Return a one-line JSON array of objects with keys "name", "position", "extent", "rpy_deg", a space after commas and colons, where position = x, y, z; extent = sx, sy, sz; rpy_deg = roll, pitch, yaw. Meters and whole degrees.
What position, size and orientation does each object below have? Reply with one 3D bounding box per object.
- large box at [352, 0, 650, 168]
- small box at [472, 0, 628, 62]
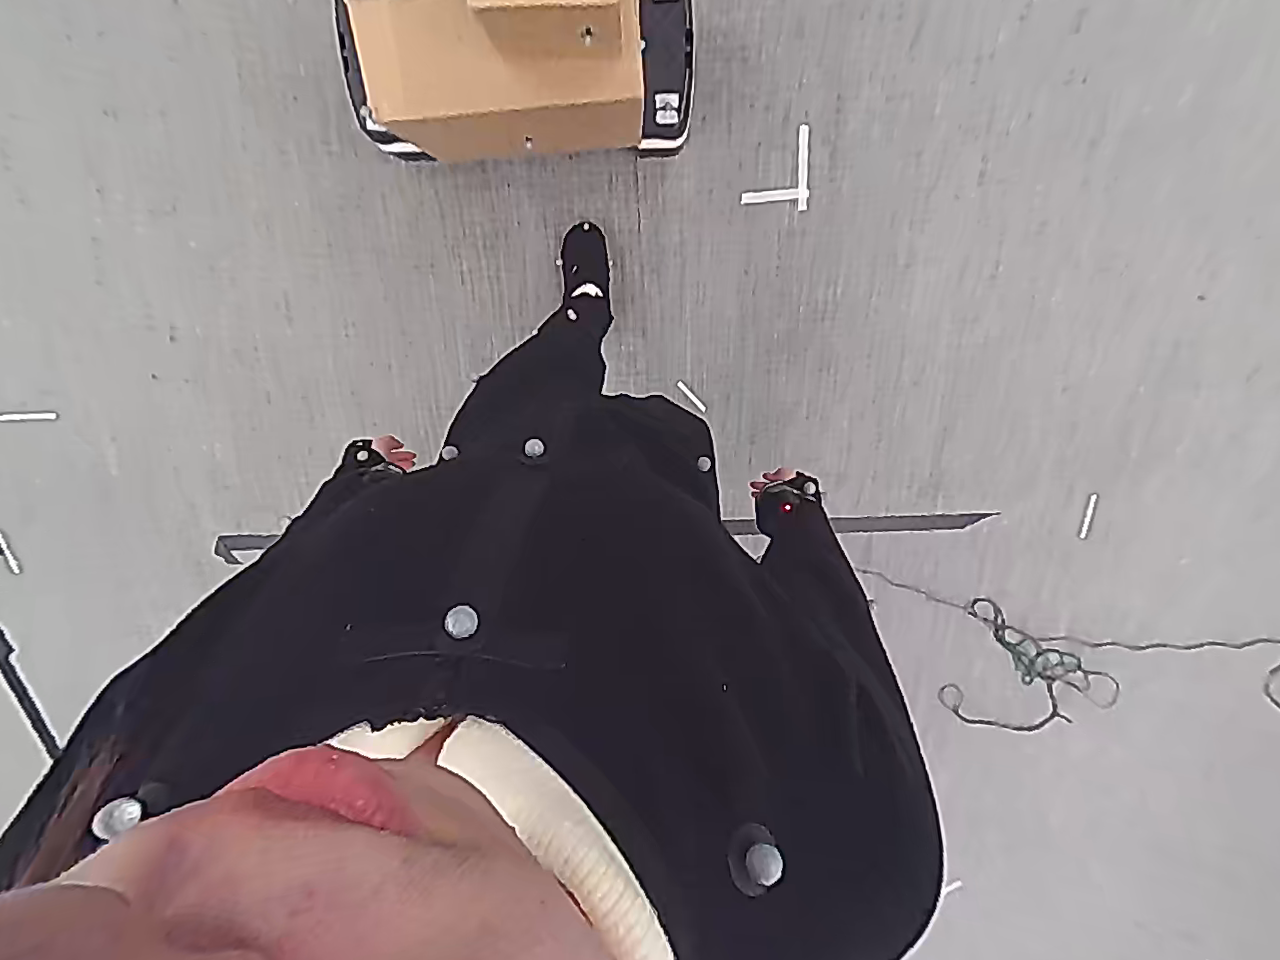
[{"name": "large box", "position": [-0.198, -0.727, 0.880], "extent": [0.408, 0.320, 0.320], "rpy_deg": [-5, 109, 2]}, {"name": "small box", "position": [-0.104, -0.635, 0.653], "extent": [0.179, 0.176, 0.168], "rpy_deg": [-1, 110, 0]}]
